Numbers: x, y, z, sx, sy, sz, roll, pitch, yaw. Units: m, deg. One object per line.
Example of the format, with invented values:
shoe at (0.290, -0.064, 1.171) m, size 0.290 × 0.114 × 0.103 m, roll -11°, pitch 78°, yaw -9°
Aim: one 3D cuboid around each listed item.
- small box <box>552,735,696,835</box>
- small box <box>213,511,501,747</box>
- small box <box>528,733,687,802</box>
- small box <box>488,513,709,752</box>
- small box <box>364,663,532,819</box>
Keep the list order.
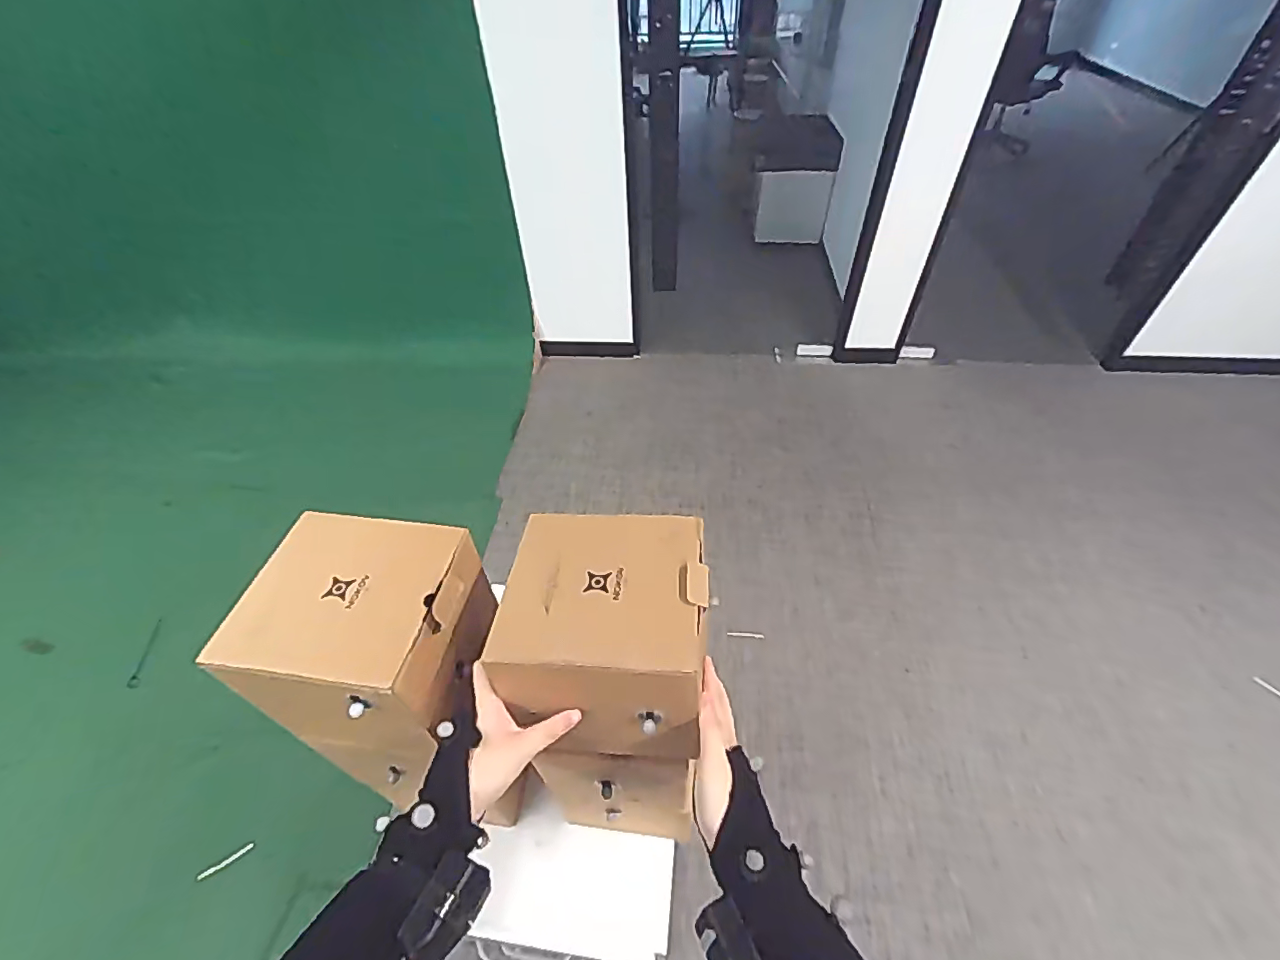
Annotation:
small box at (-0.011, 0.389, 0.775) m, size 0.179 × 0.176 × 0.168 m, roll 5°, pitch 47°, yaw 7°
small box at (-0.262, 0.154, 0.553) m, size 0.179 × 0.176 × 0.168 m, roll 6°, pitch 47°, yaw 5°
small box at (-0.024, 0.273, 0.655) m, size 0.168 × 0.176 × 0.179 m, roll 2°, pitch 47°, yaw 4°
small box at (-0.022, 0.151, 0.536) m, size 0.179 × 0.176 × 0.168 m, roll 1°, pitch 42°, yaw 8°
small box at (-0.257, 0.378, 0.793) m, size 0.179 × 0.176 × 0.168 m, roll 6°, pitch 48°, yaw 5°
